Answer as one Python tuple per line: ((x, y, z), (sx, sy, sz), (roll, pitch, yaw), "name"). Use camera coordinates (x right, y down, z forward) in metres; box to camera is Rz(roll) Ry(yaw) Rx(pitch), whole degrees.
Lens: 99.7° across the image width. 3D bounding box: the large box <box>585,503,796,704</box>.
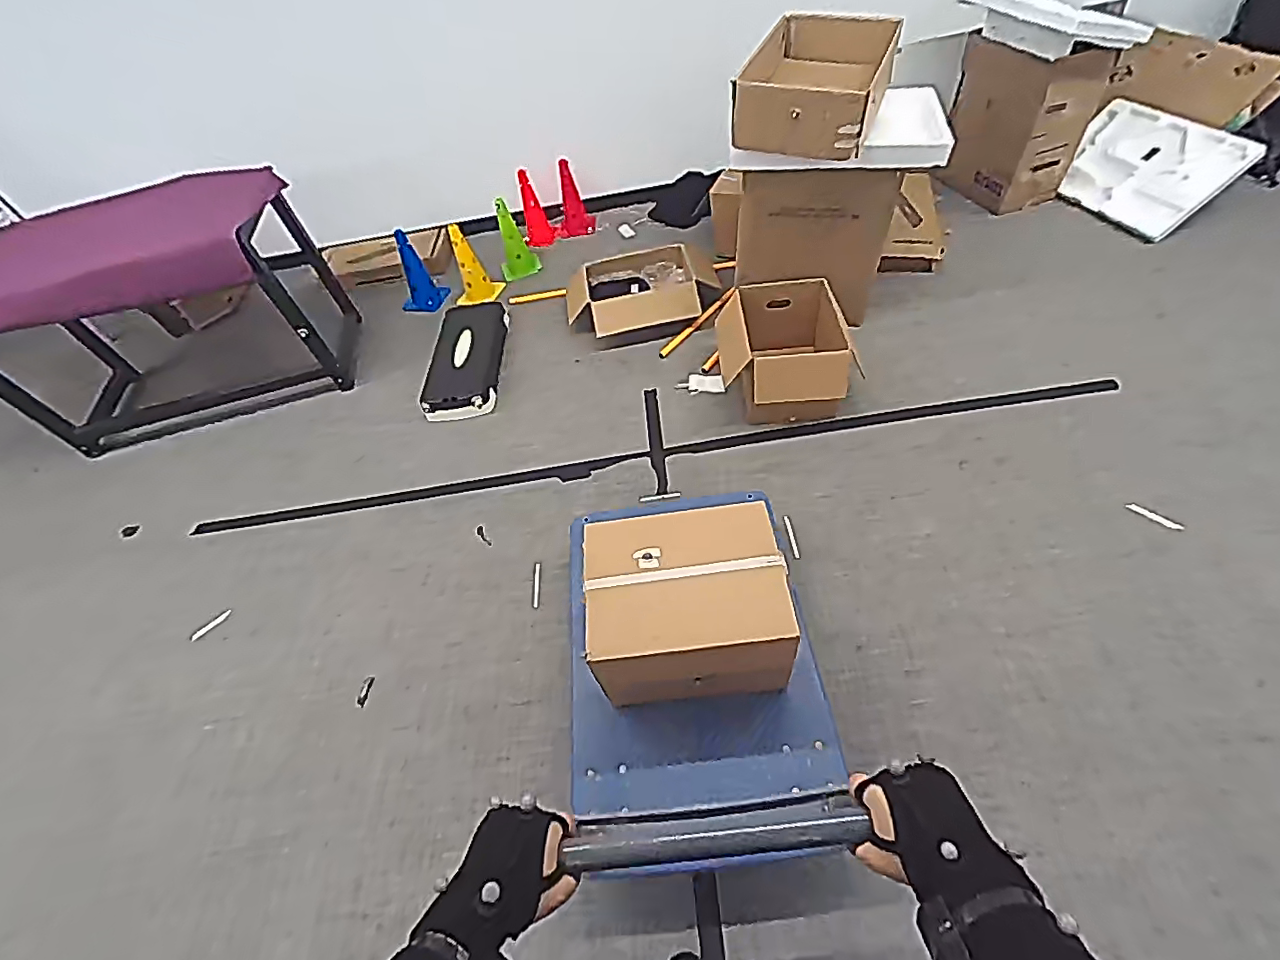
((0.108, 0.291, 1.231), (0.408, 0.320, 0.320), (-9, 51, 4), "large box")
